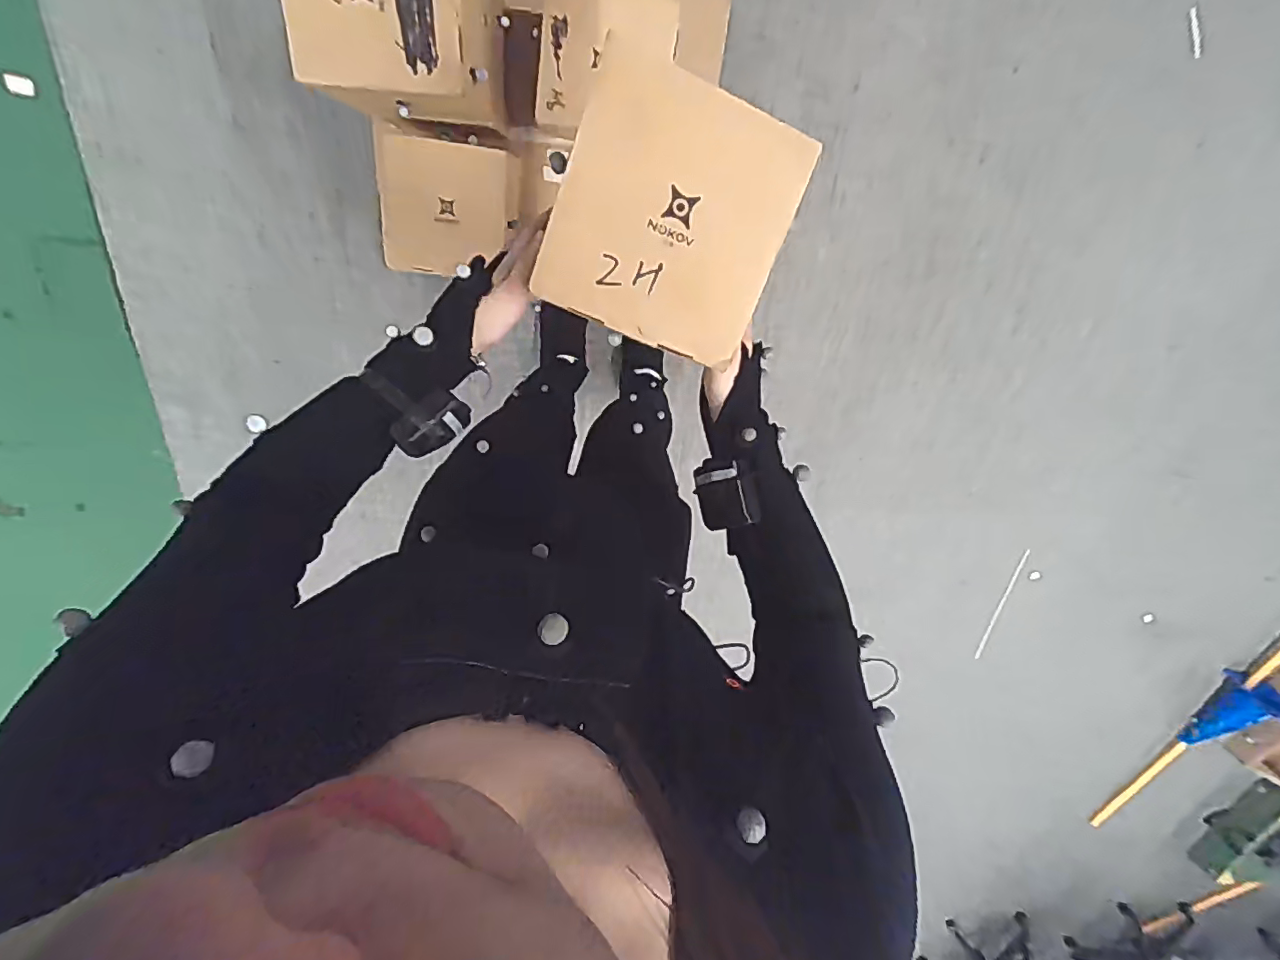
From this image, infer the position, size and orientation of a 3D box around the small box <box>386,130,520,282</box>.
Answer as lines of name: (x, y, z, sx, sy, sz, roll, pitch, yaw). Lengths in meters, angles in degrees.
small box: (-0.281, -0.421, 0.840, 0.168, 0.176, 0.179, 5, 118, -8)

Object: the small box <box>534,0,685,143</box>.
small box: (-0.047, -0.578, 0.778, 0.179, 0.176, 0.168, 9, 116, -7)

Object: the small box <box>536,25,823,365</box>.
small box: (0.017, -0.217, 0.463, 0.168, 0.176, 0.179, 19, 104, -13)
